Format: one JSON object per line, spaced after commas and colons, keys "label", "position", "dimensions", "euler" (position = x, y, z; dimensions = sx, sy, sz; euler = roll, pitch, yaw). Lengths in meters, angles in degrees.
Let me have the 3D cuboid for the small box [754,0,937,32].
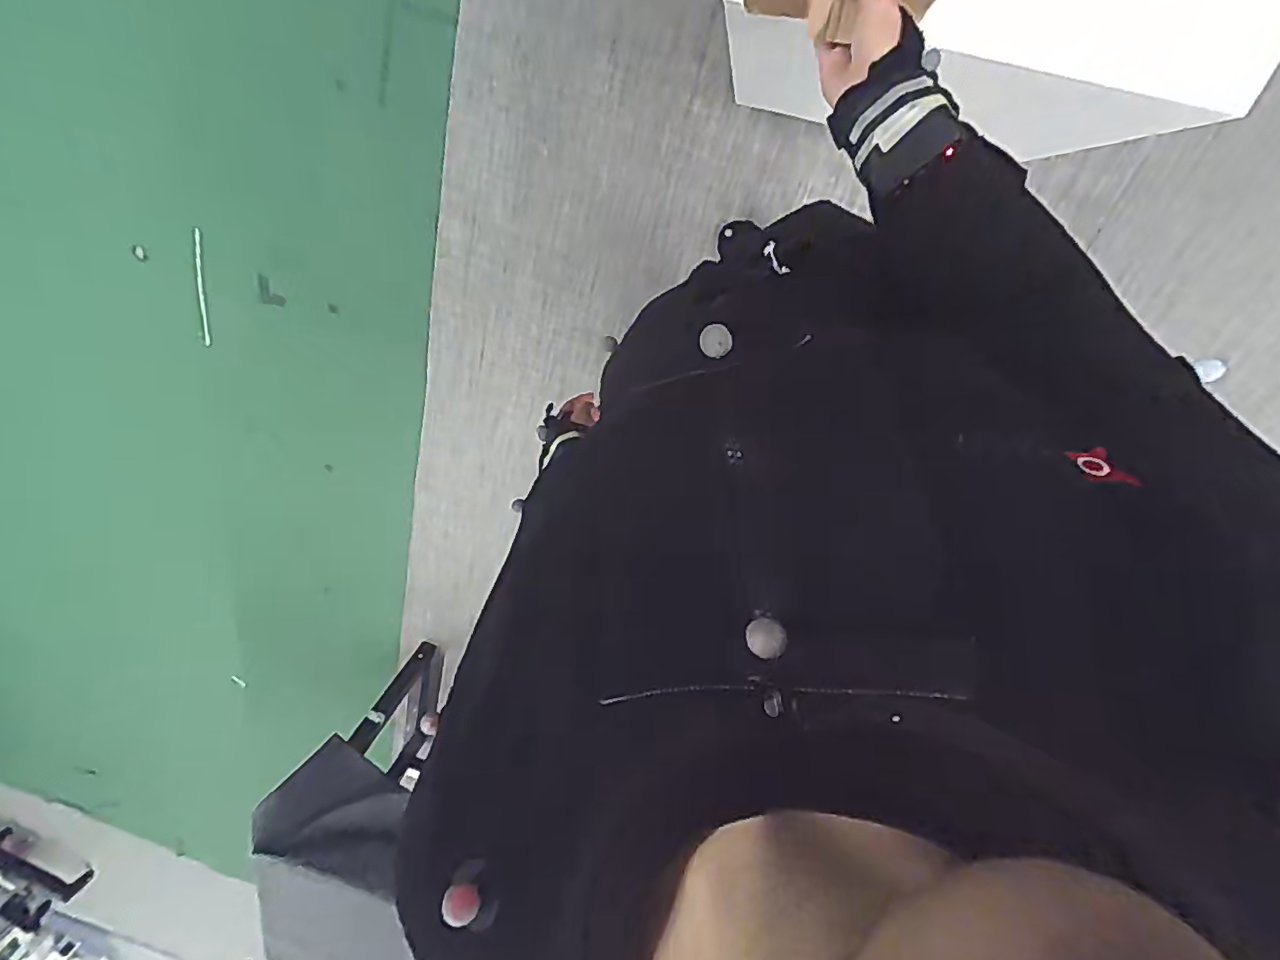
{"label": "small box", "position": [0.180, -0.488, 0.416], "dimensions": [0.168, 0.176, 0.179], "euler": [12, 117, 6]}
